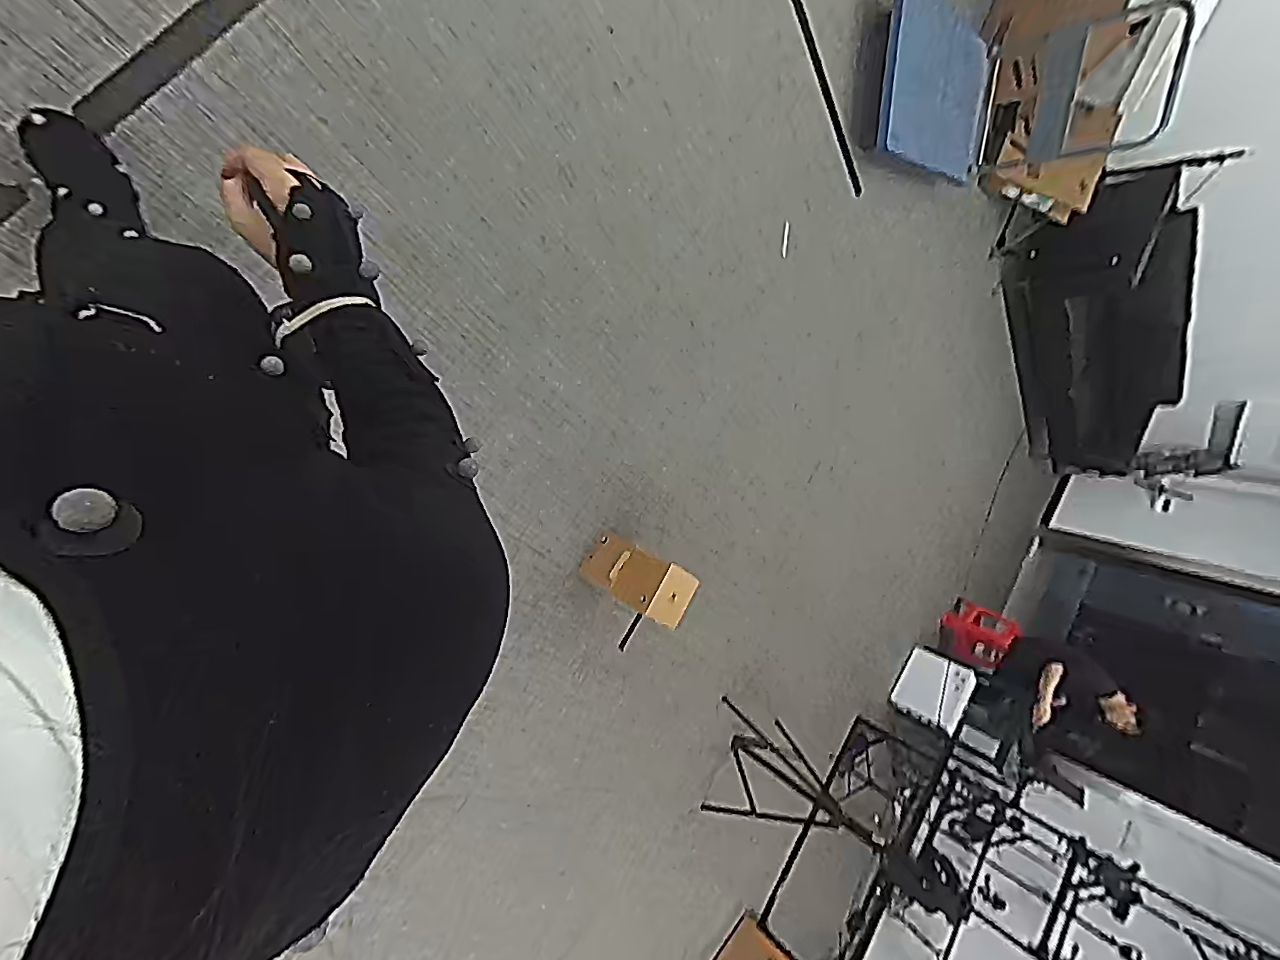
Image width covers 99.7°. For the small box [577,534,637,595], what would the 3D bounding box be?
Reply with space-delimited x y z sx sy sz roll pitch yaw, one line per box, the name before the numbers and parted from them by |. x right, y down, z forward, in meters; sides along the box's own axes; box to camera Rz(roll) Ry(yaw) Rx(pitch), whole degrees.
small box | -0.081 0.299 1.817 0.168 0.176 0.179 -55 132 -14

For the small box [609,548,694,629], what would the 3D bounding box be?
small box | 0.032 0.337 1.705 0.168 0.176 0.179 38 77 -42
